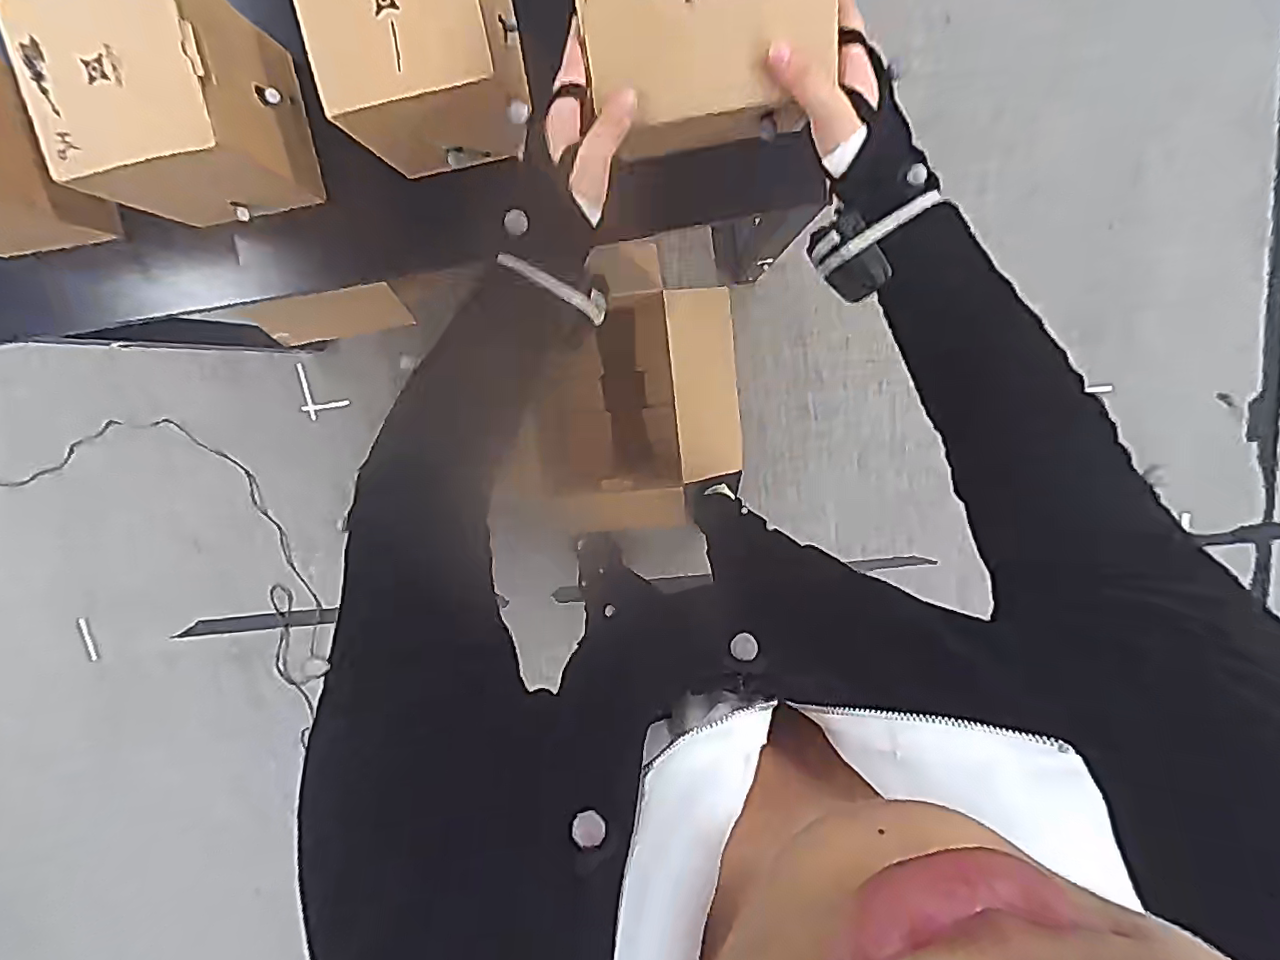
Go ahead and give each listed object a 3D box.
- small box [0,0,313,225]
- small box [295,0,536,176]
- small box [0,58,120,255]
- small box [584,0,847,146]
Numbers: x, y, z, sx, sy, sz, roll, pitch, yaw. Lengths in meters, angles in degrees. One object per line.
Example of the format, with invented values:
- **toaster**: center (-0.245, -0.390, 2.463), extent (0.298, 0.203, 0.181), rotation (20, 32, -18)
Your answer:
- **small box**: center (-0.481, -0.387, 0.568), extent (0.179, 0.176, 0.168), rotation (-10, 100, 3)
- **small box**: center (-0.215, -0.440, 0.543), extent (0.168, 0.176, 0.179), rotation (-9, 101, 5)
- **small box**: center (-0.742, -0.354, 0.586), extent (0.179, 0.176, 0.168), rotation (-7, 102, 3)
- **small box**: center (0.053, -0.378, 0.424), extent (0.179, 0.176, 0.168), rotation (-5, 114, 9)
